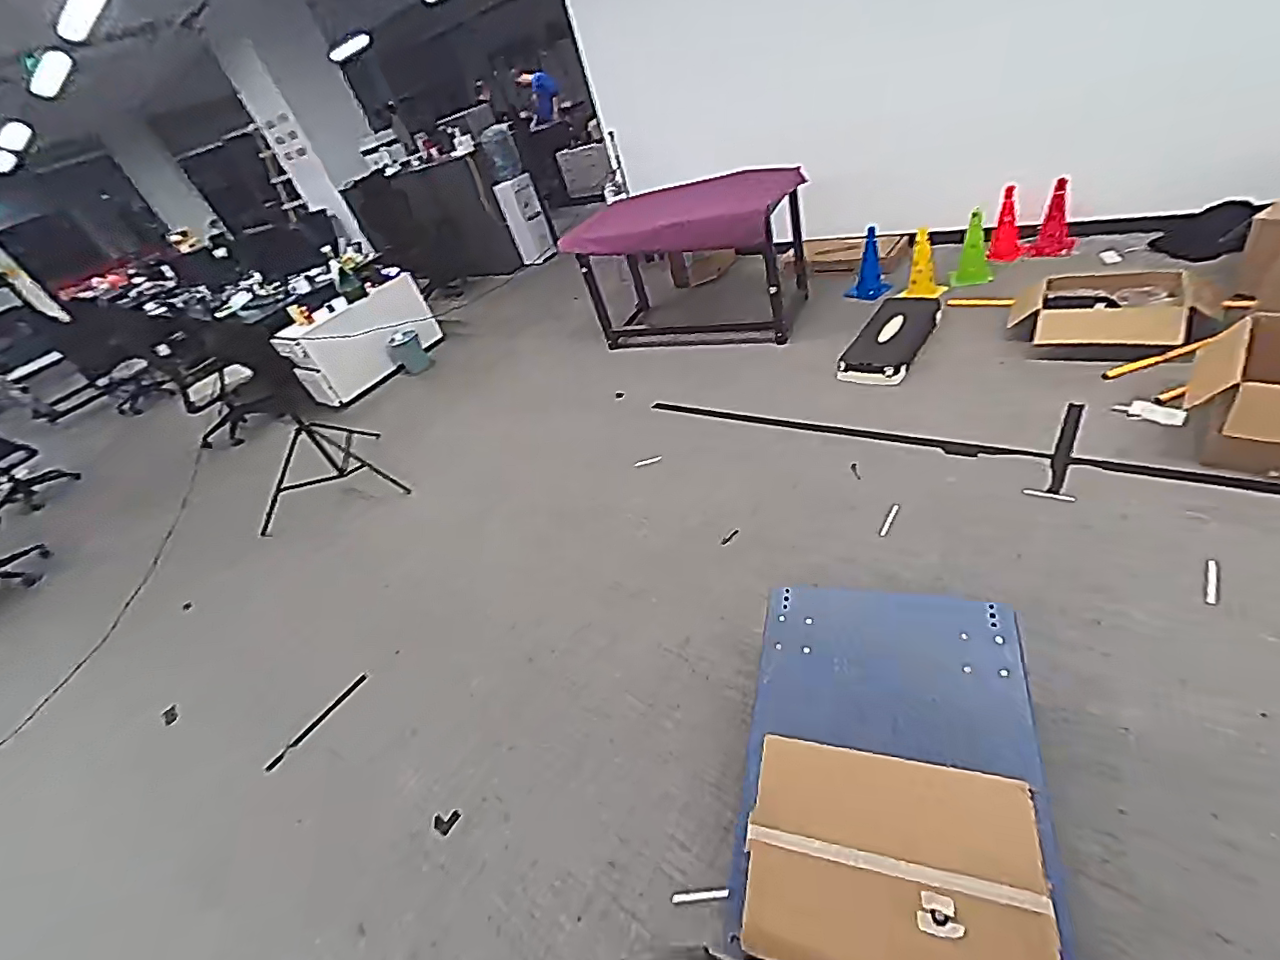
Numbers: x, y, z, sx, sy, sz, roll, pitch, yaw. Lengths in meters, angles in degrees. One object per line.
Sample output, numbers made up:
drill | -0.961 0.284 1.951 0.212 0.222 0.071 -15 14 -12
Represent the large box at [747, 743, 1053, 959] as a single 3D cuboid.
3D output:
large box | 0.417 0.689 0.925 0.408 0.320 0.320 -1 49 22
